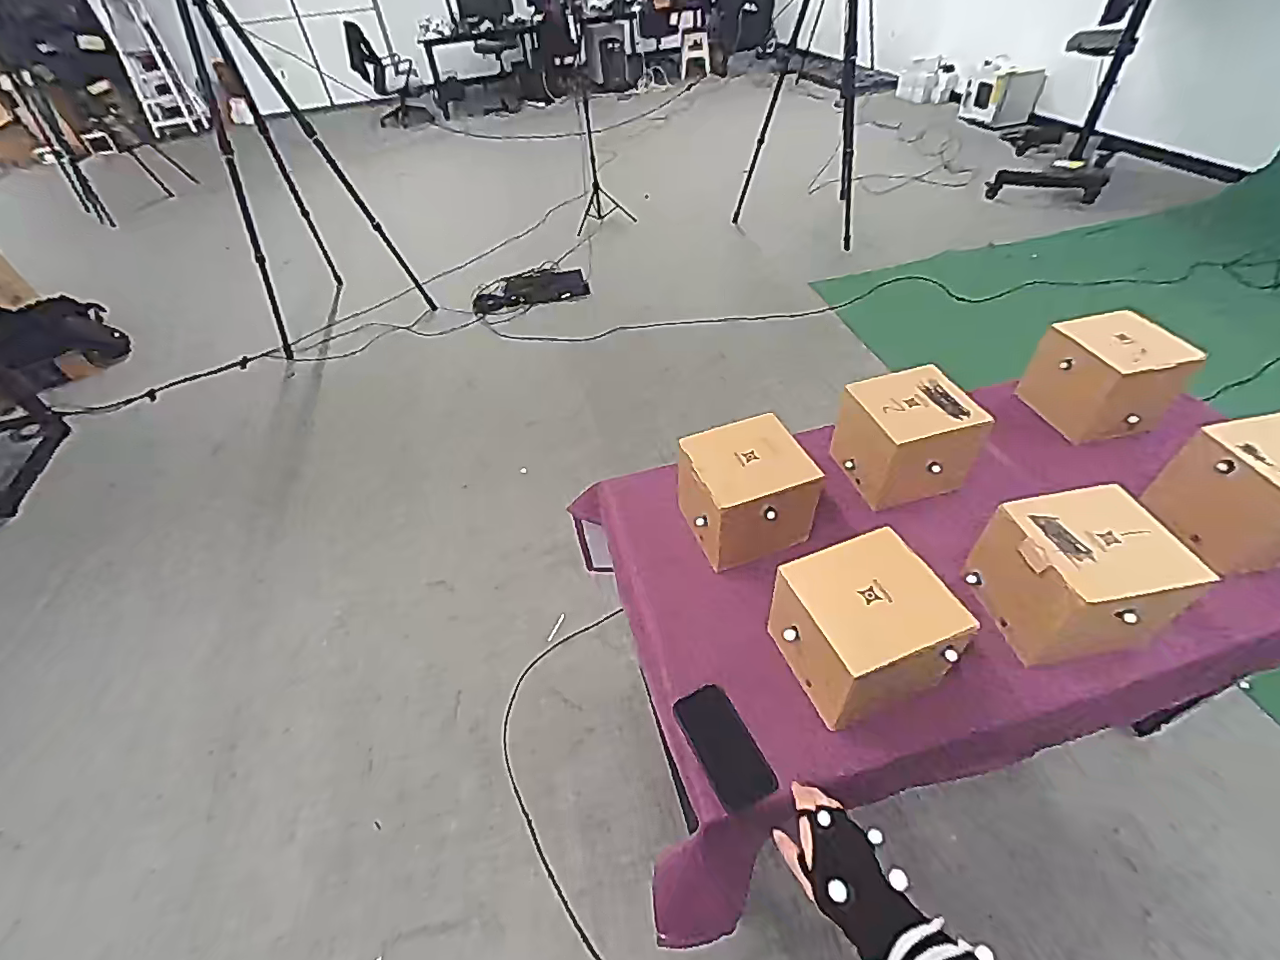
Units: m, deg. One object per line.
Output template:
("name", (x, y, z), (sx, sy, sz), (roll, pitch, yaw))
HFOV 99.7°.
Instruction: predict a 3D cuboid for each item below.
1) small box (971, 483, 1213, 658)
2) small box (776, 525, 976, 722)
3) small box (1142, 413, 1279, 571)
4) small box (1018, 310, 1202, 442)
("small box", (0.603, 0.130, 0.759), (0.179, 0.176, 0.168), (-9, 46, -4))
("small box", (0.298, 0.196, 0.730), (0.179, 0.176, 0.168), (-17, 47, -12))
("small box", (0.949, 0.018, 0.829), (0.179, 0.176, 0.168), (-9, 46, -3))
("small box", (0.884, -0.200, 1.044), (0.168, 0.176, 0.179), (-12, 47, -4))
